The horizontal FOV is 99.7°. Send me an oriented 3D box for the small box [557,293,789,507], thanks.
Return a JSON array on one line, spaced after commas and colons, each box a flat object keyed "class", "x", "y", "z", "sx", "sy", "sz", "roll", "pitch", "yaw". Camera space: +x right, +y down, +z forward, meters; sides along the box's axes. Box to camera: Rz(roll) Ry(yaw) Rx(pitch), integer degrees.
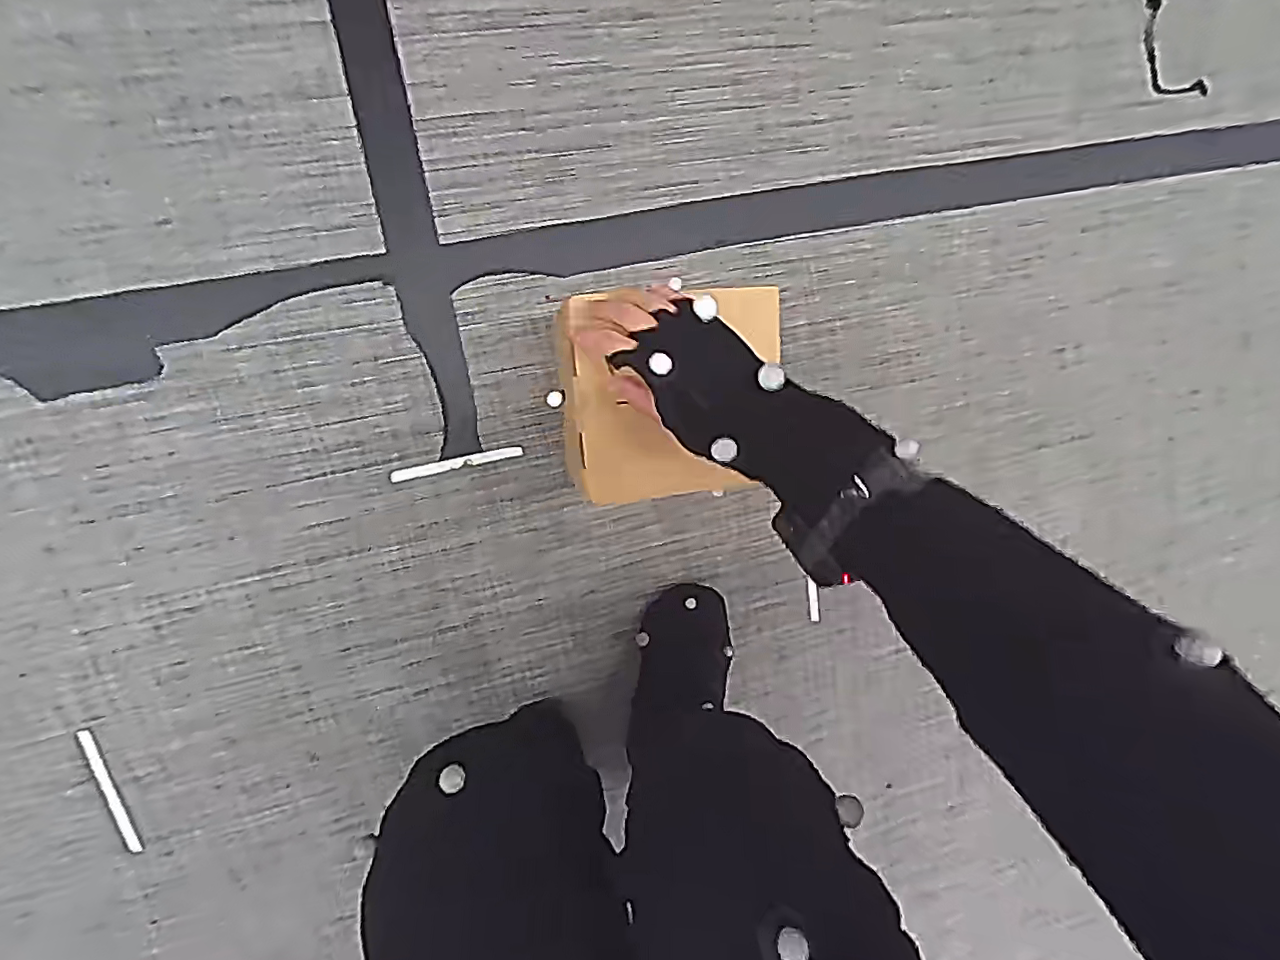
[{"class": "small box", "x": 0.022, "y": -0.081, "z": 0.513, "sx": 0.179, "sy": 0.176, "sz": 0.168, "roll": -6, "pitch": 102, "yaw": -12}]
